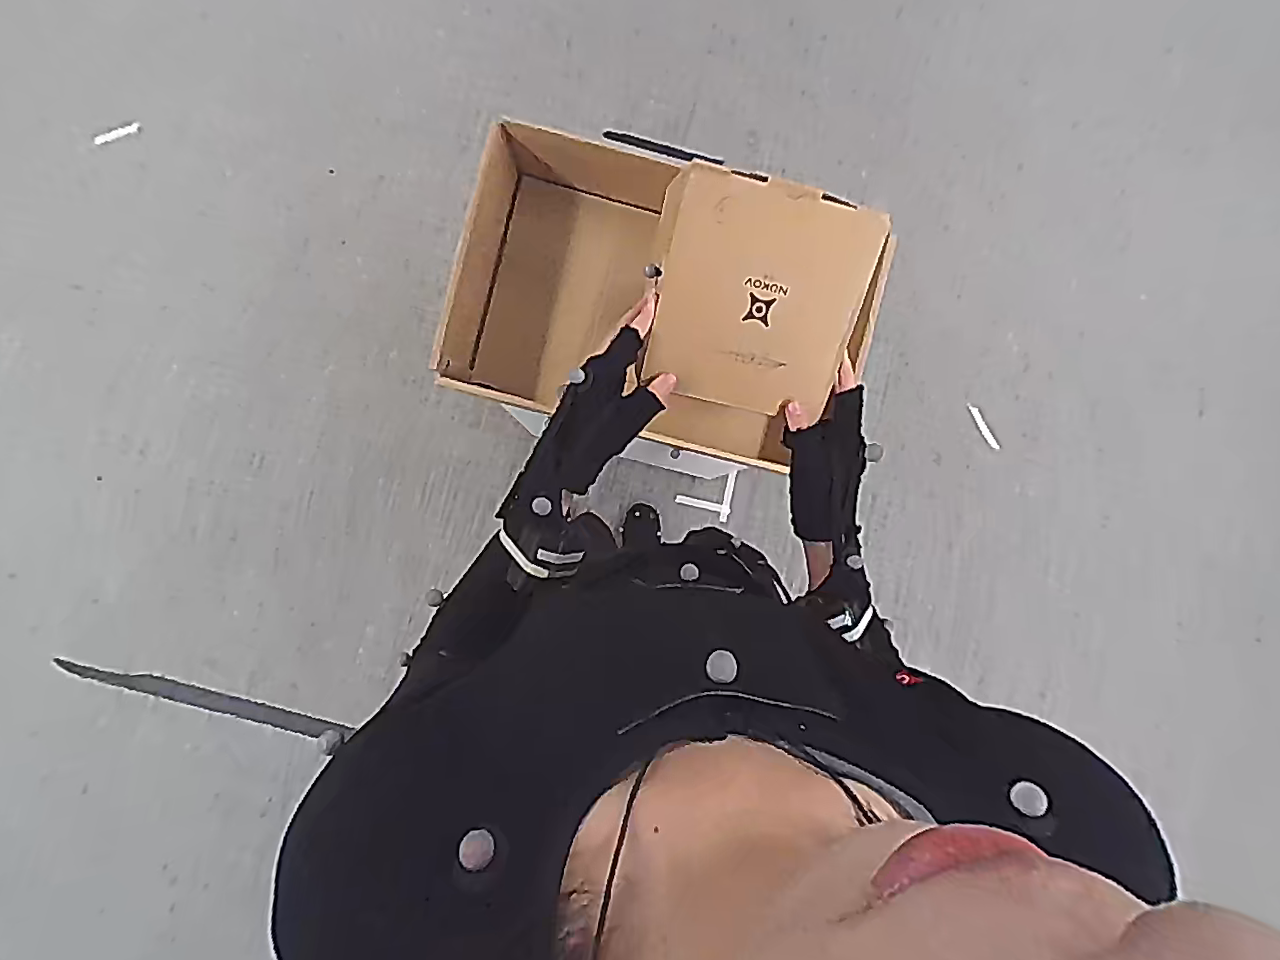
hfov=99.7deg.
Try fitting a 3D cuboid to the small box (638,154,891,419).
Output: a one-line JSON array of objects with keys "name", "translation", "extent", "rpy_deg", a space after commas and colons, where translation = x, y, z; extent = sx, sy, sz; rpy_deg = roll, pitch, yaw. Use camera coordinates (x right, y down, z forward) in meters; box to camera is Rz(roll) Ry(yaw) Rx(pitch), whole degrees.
[{"name": "small box", "translation": [0.094, -0.175, 0.510], "extent": [0.168, 0.176, 0.179], "rpy_deg": [10, 111, -7]}]
